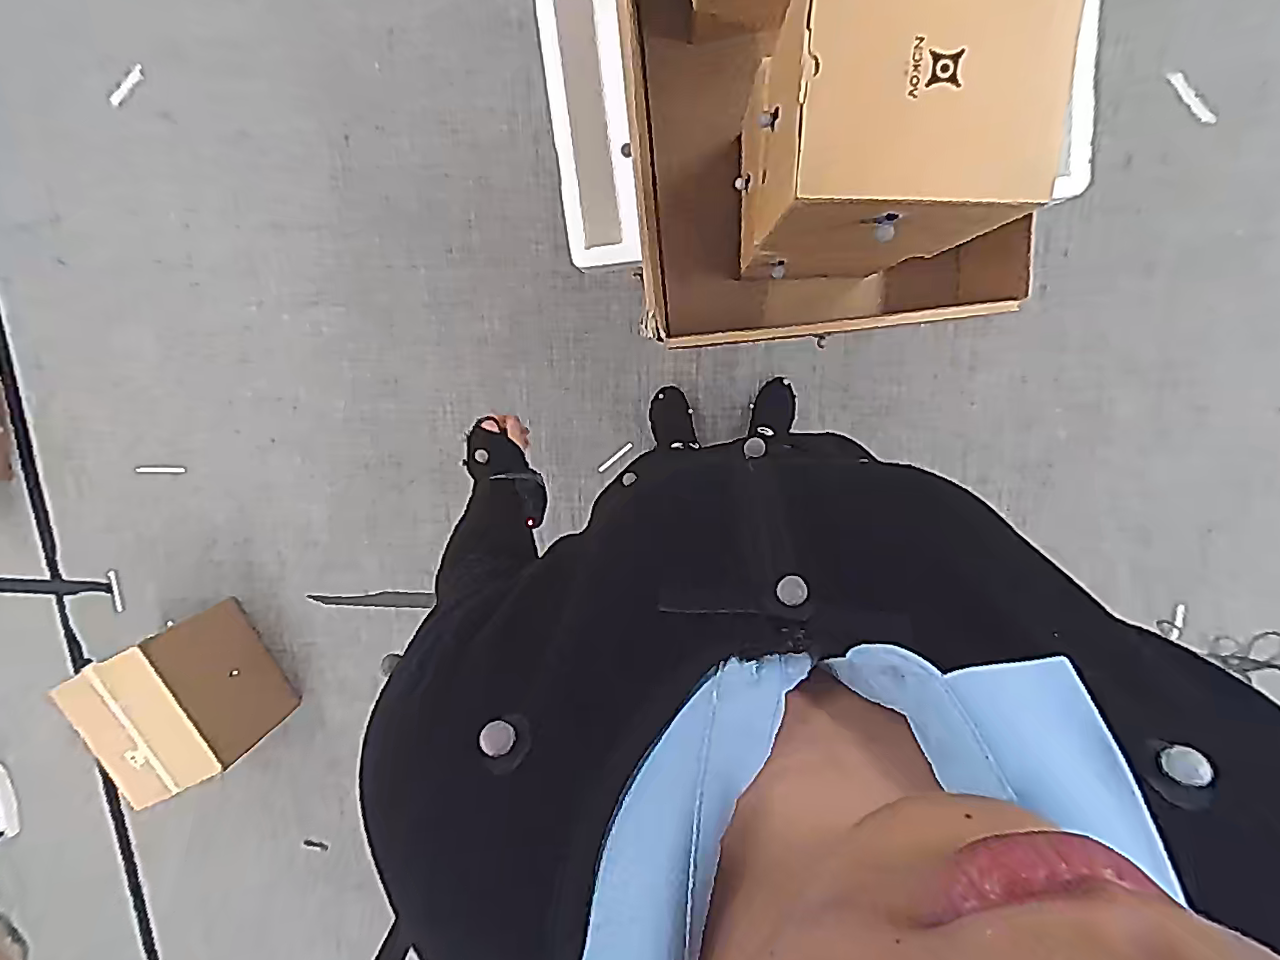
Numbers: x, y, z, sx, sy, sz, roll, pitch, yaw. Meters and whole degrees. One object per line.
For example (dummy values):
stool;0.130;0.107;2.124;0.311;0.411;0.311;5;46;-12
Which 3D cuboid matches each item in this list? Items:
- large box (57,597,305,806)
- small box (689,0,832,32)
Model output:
large box;-1.294;0.623;1.566;0.320;0.320;0.408;-26;99;9
small box;0.135;-0.590;0.529;0.179;0.176;0.168;-8;103;4
